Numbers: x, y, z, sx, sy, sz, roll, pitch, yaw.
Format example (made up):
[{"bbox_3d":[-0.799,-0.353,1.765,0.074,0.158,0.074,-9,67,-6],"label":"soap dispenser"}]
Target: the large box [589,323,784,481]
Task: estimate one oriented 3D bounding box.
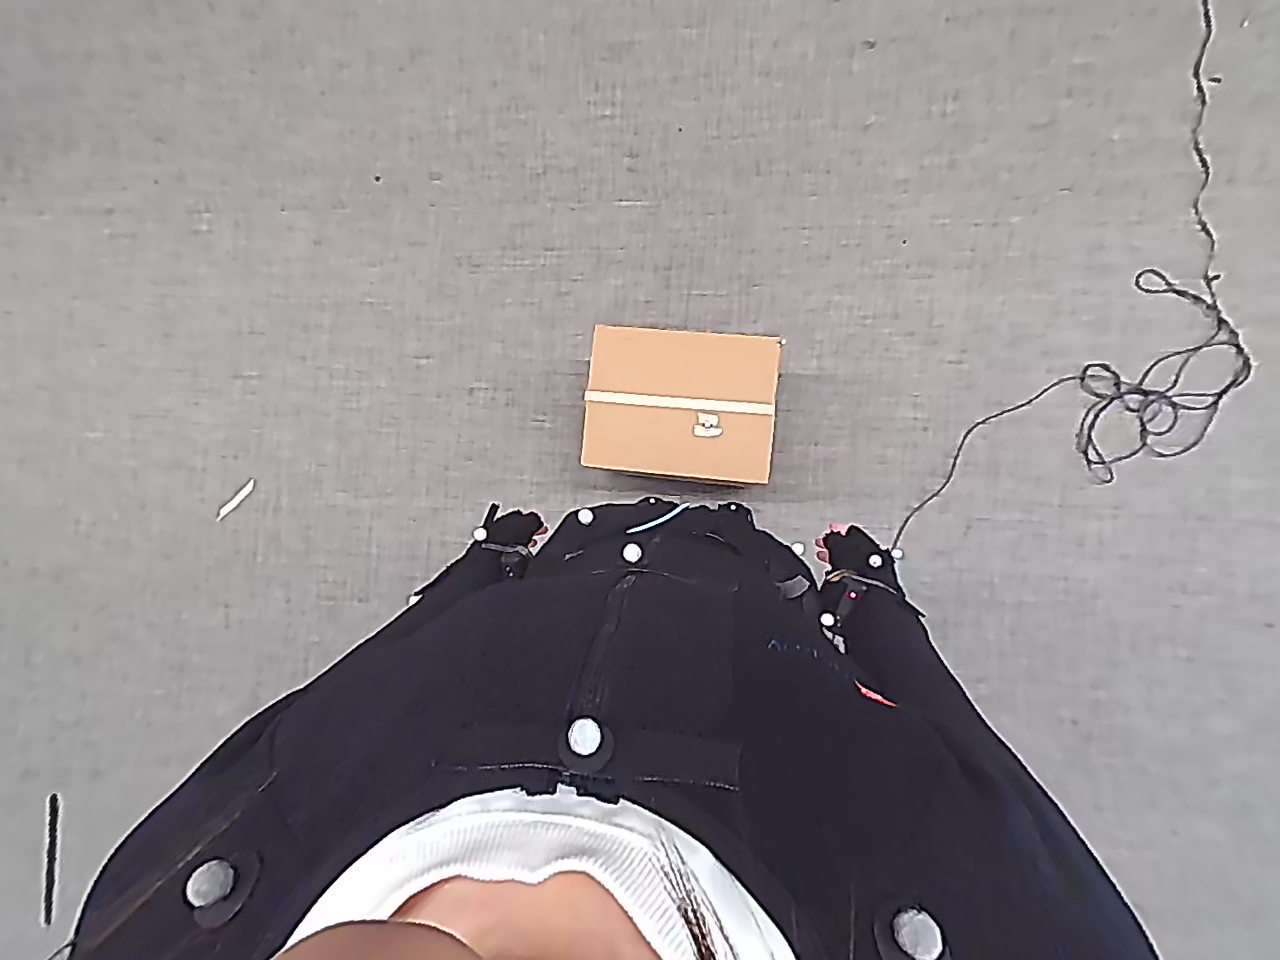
[{"bbox_3d":[0.111,-0.170,1.309,0.408,0.320,0.320,6,90,7],"label":"large box"}]
